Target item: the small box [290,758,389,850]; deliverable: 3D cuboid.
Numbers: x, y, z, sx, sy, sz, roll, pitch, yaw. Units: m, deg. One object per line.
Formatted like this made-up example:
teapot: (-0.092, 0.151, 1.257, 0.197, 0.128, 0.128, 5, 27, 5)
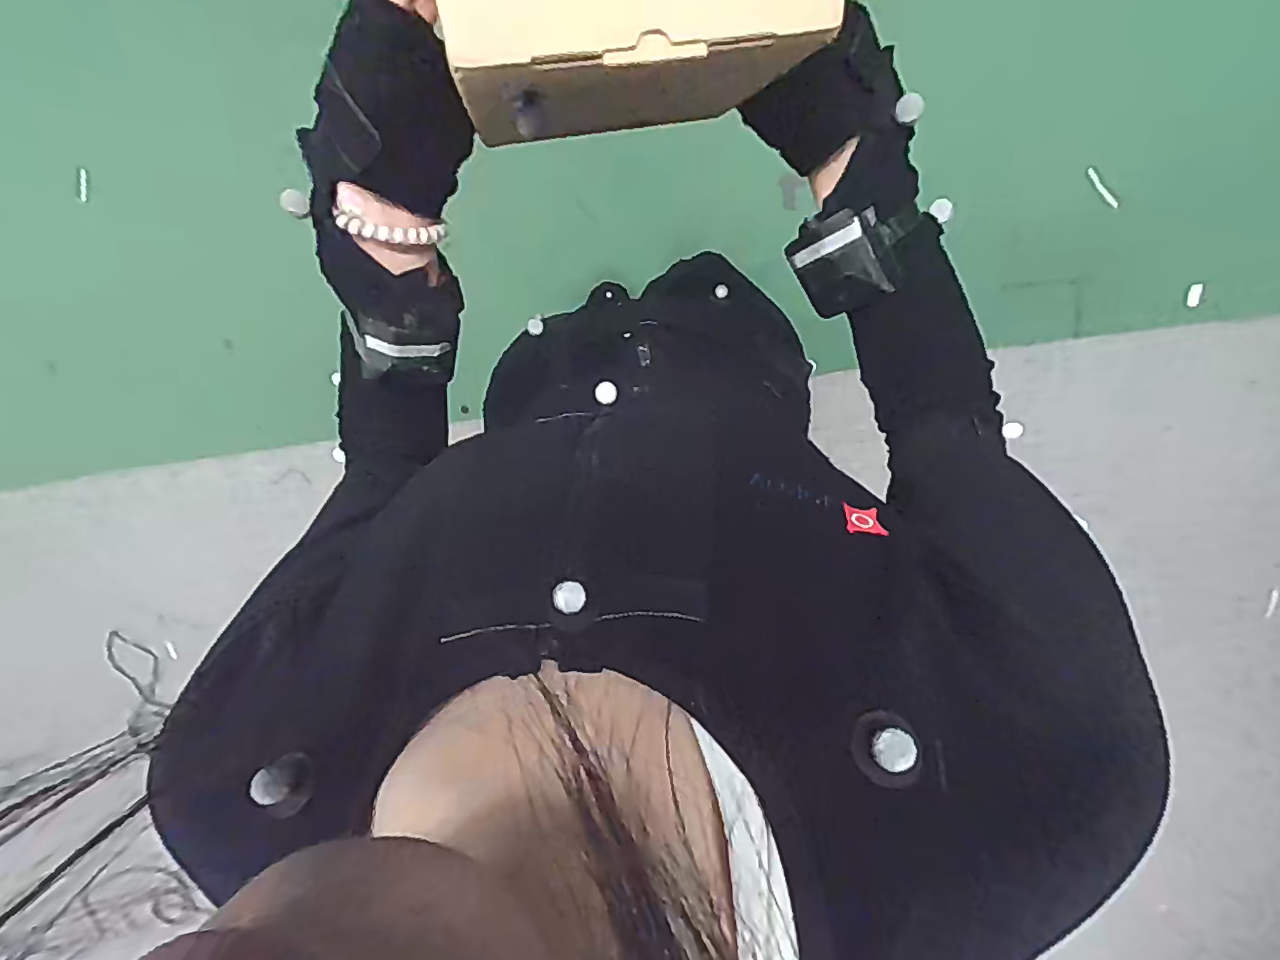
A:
small box: (-0.896, 0.971, 1.630, 0.179, 0.176, 0.168, -9, 110, 5)
